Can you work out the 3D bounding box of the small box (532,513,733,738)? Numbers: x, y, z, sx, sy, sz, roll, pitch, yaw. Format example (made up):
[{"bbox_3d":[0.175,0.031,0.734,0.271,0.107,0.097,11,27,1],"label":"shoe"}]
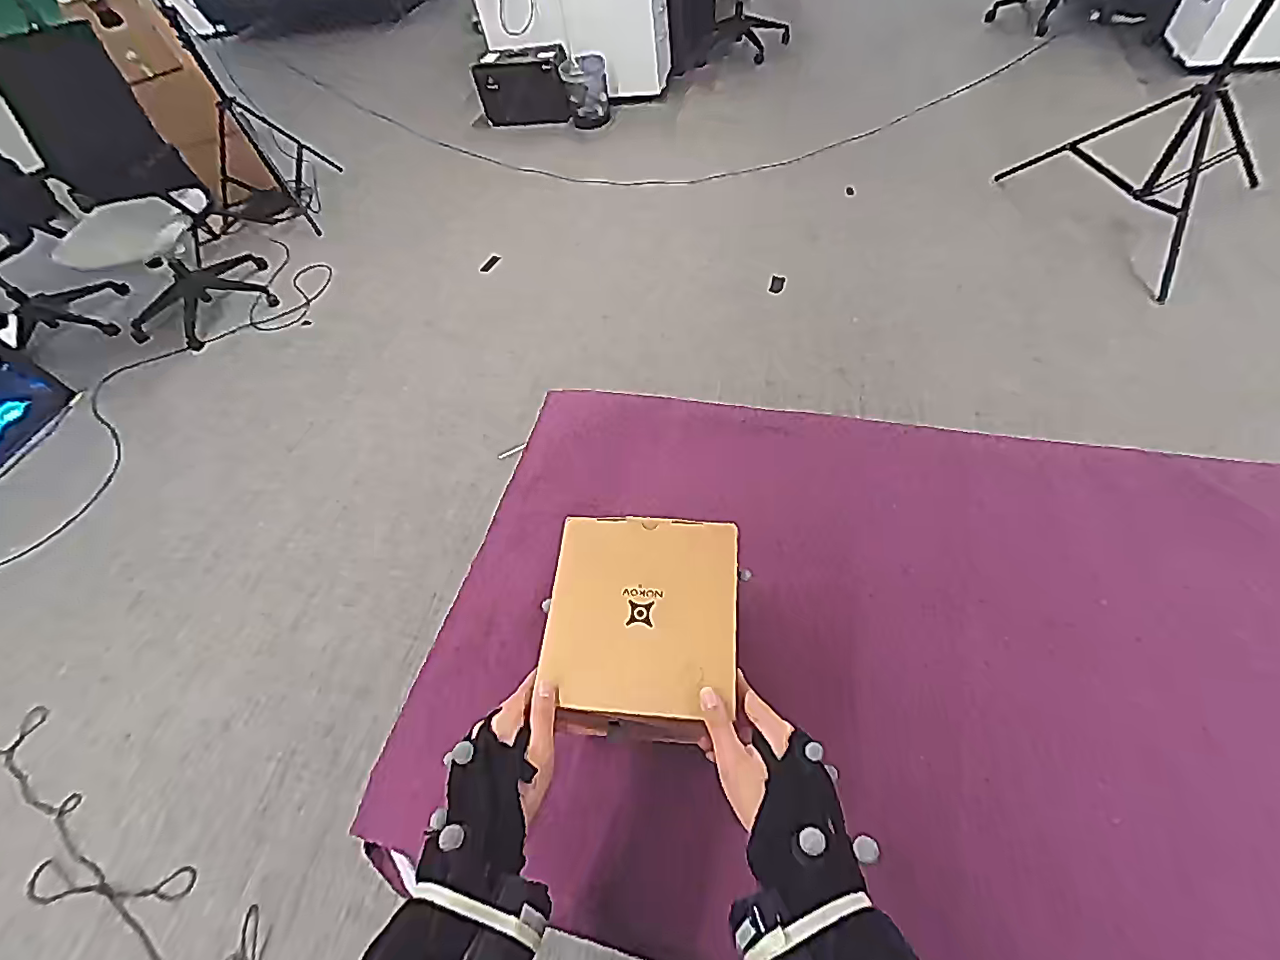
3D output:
[{"bbox_3d":[0.008,0.150,0.540,0.168,0.176,0.179,1,57,8],"label":"small box"}]
